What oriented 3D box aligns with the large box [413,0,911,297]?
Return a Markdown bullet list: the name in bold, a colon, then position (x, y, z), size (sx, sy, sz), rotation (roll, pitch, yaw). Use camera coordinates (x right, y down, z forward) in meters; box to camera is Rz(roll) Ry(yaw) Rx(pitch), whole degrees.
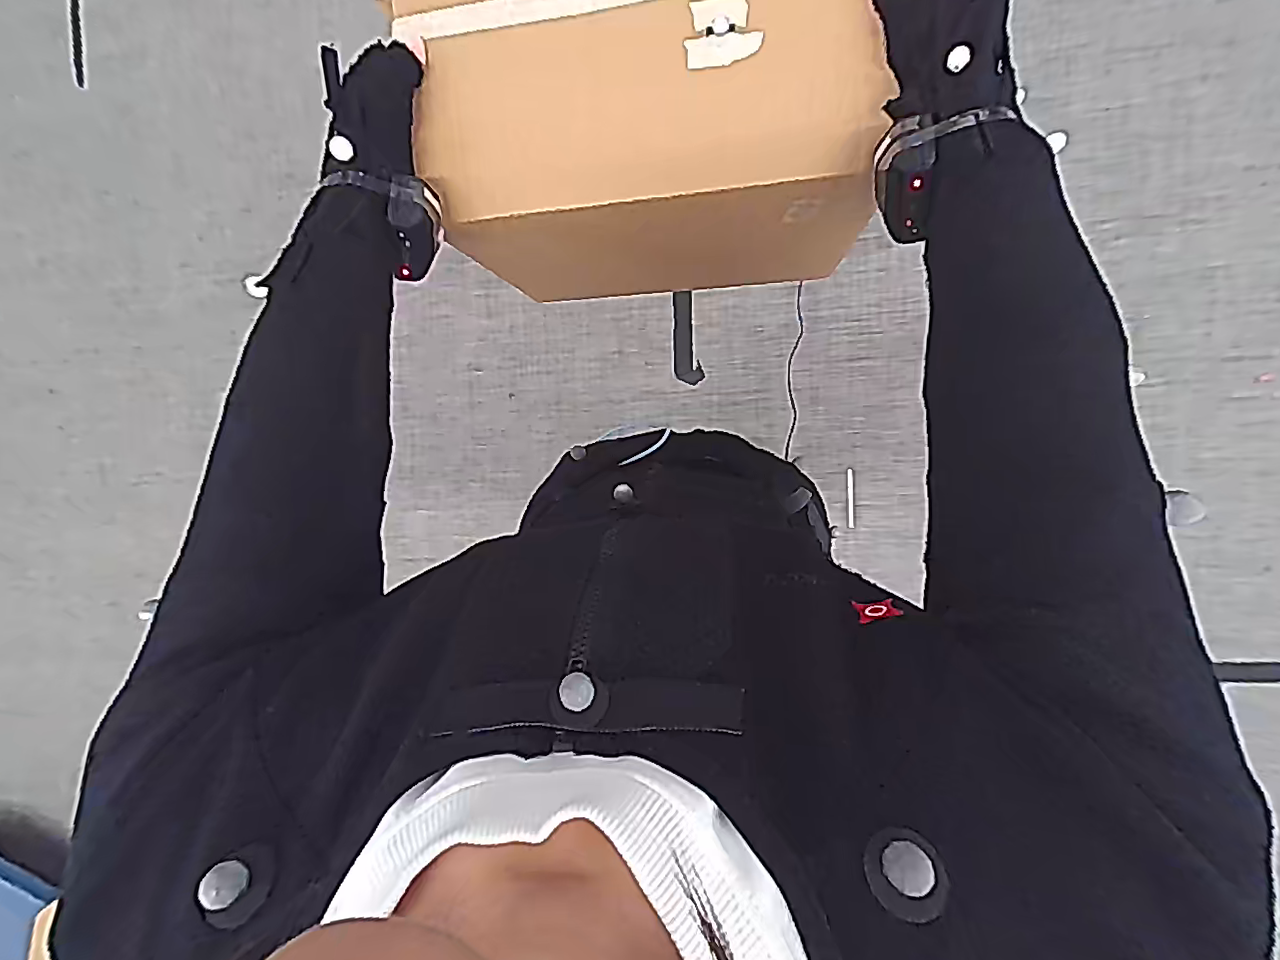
- **large box**: position (0.023, -0.407, 0.580), size (0.408, 0.320, 0.320), rotation (-3, 96, 8)
